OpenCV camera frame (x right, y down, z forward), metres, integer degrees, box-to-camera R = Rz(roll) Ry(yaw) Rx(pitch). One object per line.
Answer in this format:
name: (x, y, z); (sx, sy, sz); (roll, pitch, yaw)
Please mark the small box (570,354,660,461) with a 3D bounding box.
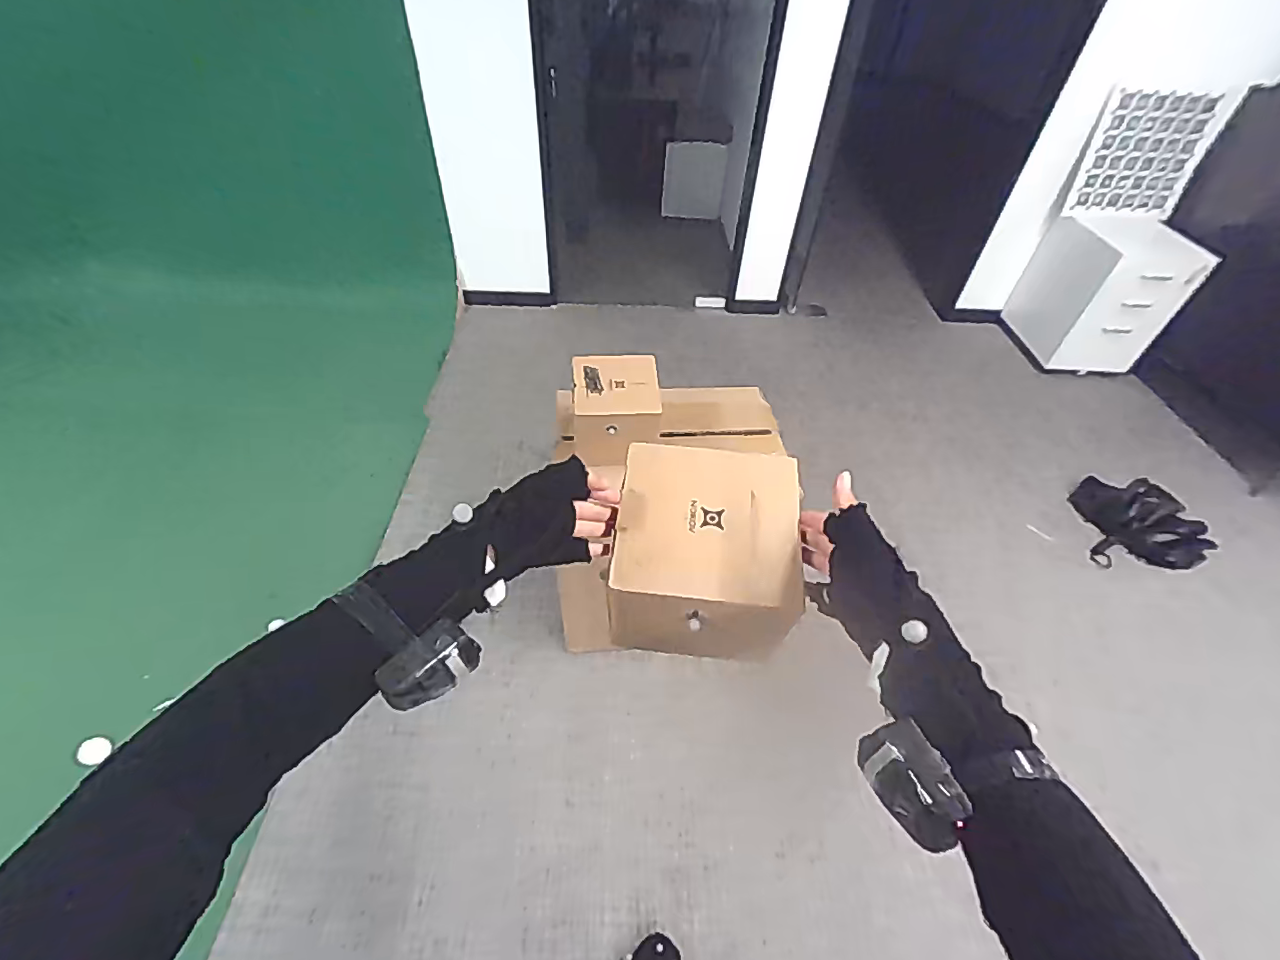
small box: (-0.057, -0.152, 1.161); (0.179, 0.176, 0.168); (-2, 56, -6)
